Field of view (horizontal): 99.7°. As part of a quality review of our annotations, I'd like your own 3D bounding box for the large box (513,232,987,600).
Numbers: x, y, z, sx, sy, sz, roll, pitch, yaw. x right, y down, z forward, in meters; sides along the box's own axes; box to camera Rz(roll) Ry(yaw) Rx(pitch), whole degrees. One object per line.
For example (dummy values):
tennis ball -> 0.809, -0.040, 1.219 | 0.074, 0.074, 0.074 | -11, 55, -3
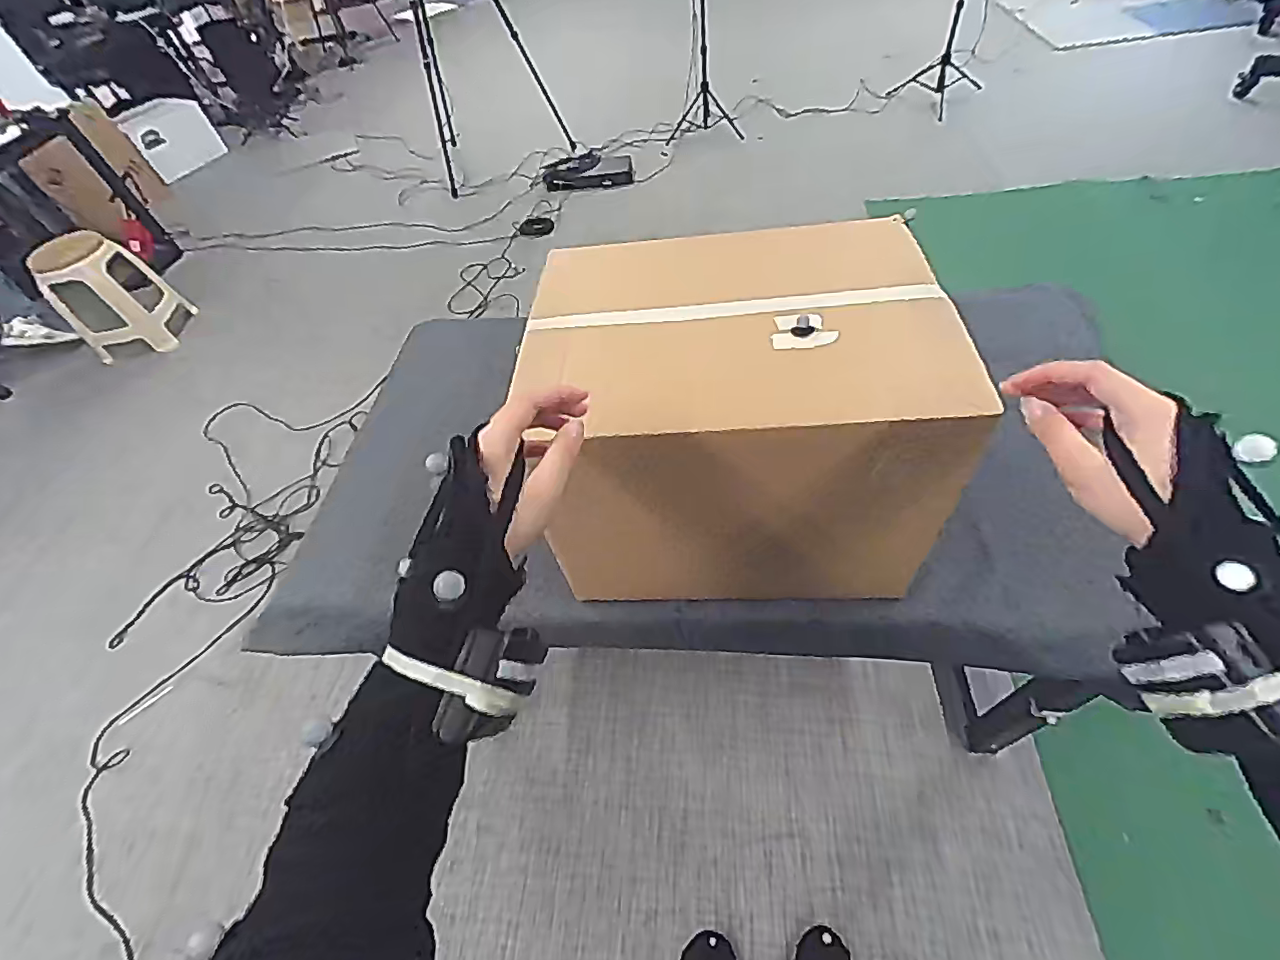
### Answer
large box -> 0.103, -0.064, 0.658 | 0.408, 0.320, 0.320 | -2, 51, 7
